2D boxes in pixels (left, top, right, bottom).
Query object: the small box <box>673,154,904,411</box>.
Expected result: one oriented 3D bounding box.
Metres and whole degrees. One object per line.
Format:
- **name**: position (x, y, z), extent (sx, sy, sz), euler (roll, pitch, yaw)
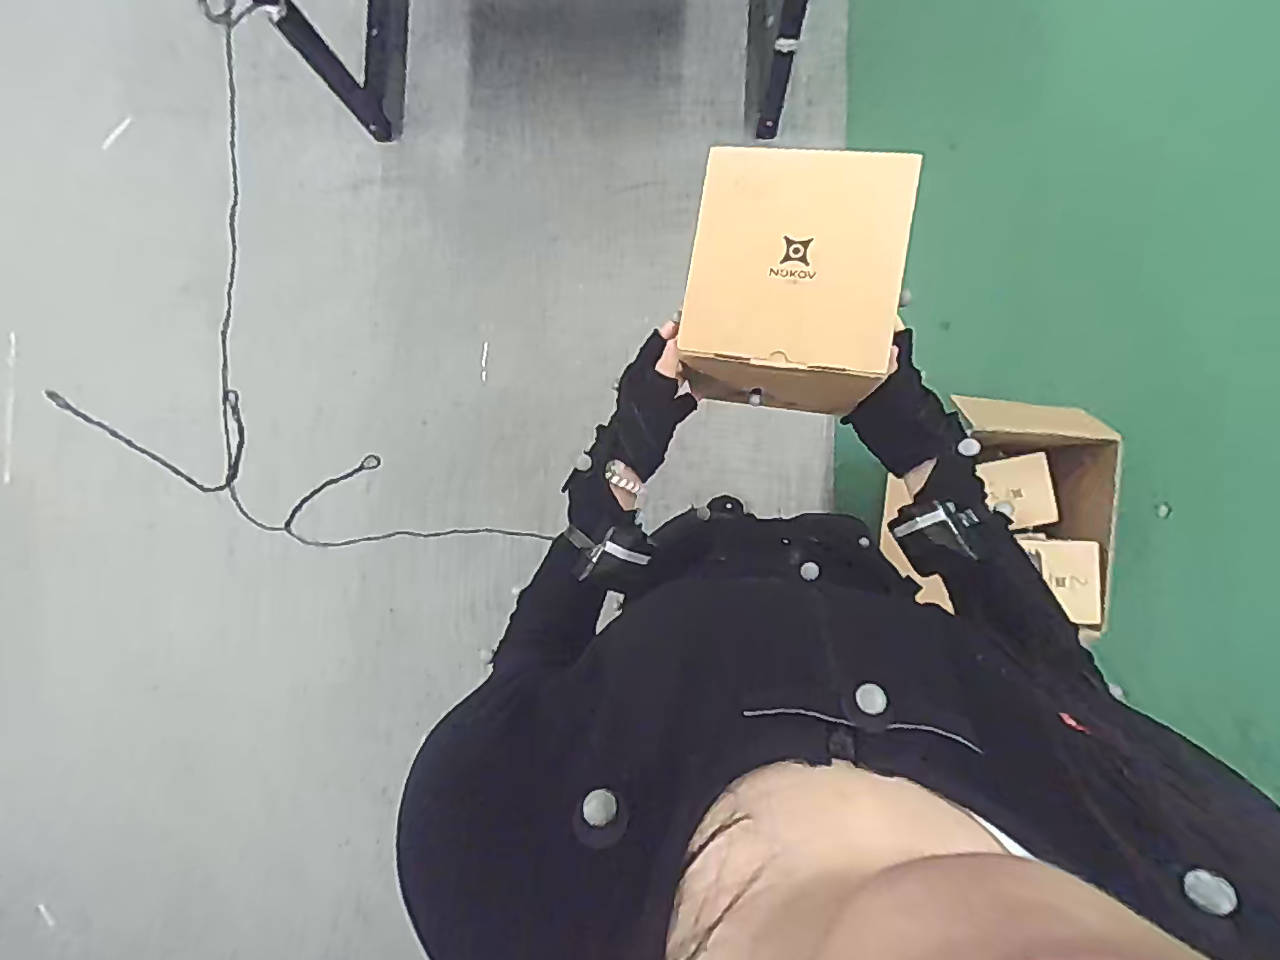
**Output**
- **small box**: position (0.133, -0.175, 0.521), extent (0.168, 0.176, 0.179), euler (9, 90, 11)
